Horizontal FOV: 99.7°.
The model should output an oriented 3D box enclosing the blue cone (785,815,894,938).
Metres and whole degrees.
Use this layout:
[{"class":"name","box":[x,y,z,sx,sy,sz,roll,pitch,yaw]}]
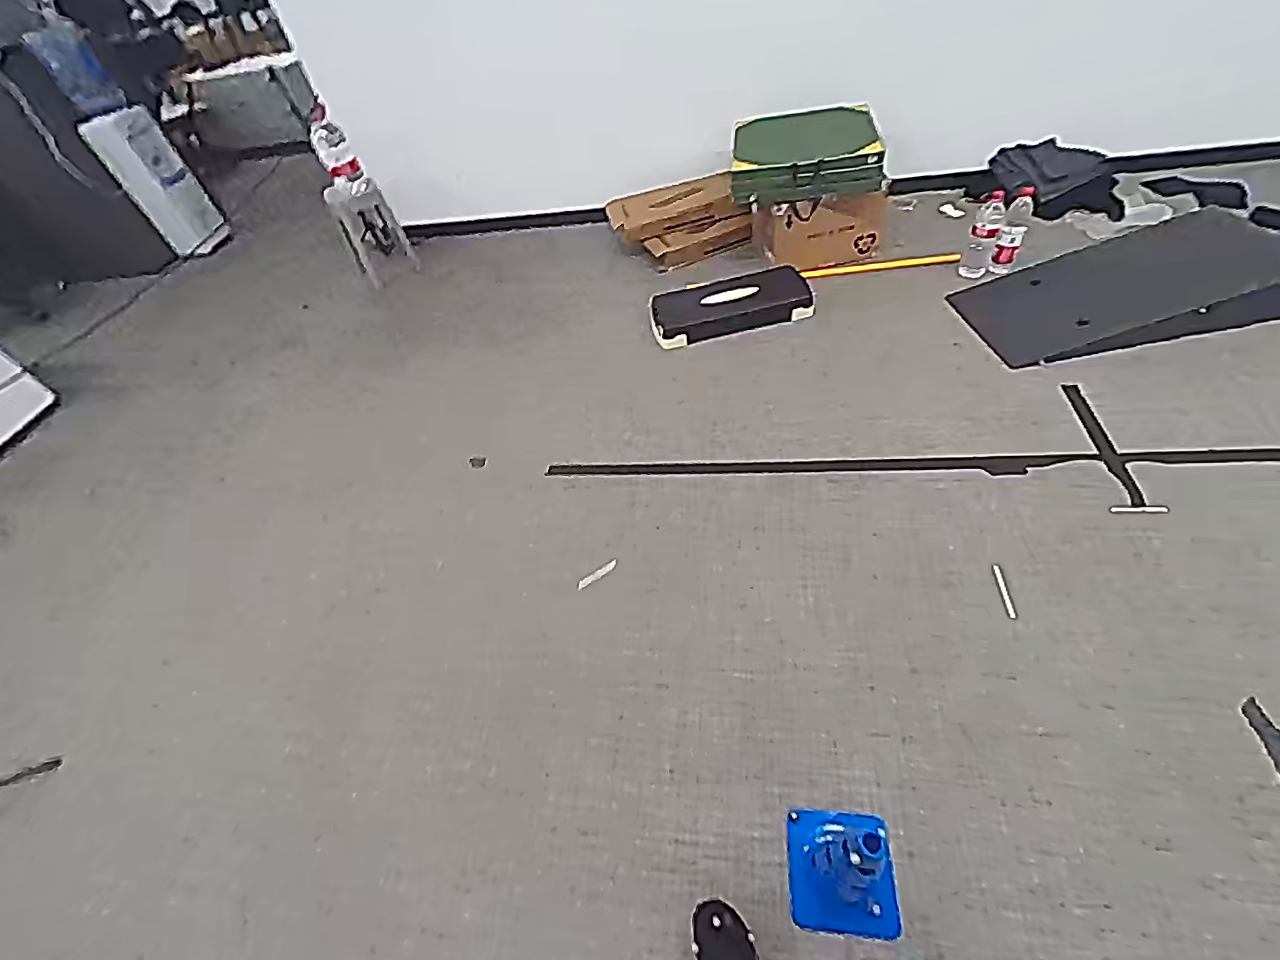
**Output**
[{"class":"blue cone","box":[0.361,0.664,0.939,0.192,0.380,0.193,-1,49,12]}]
